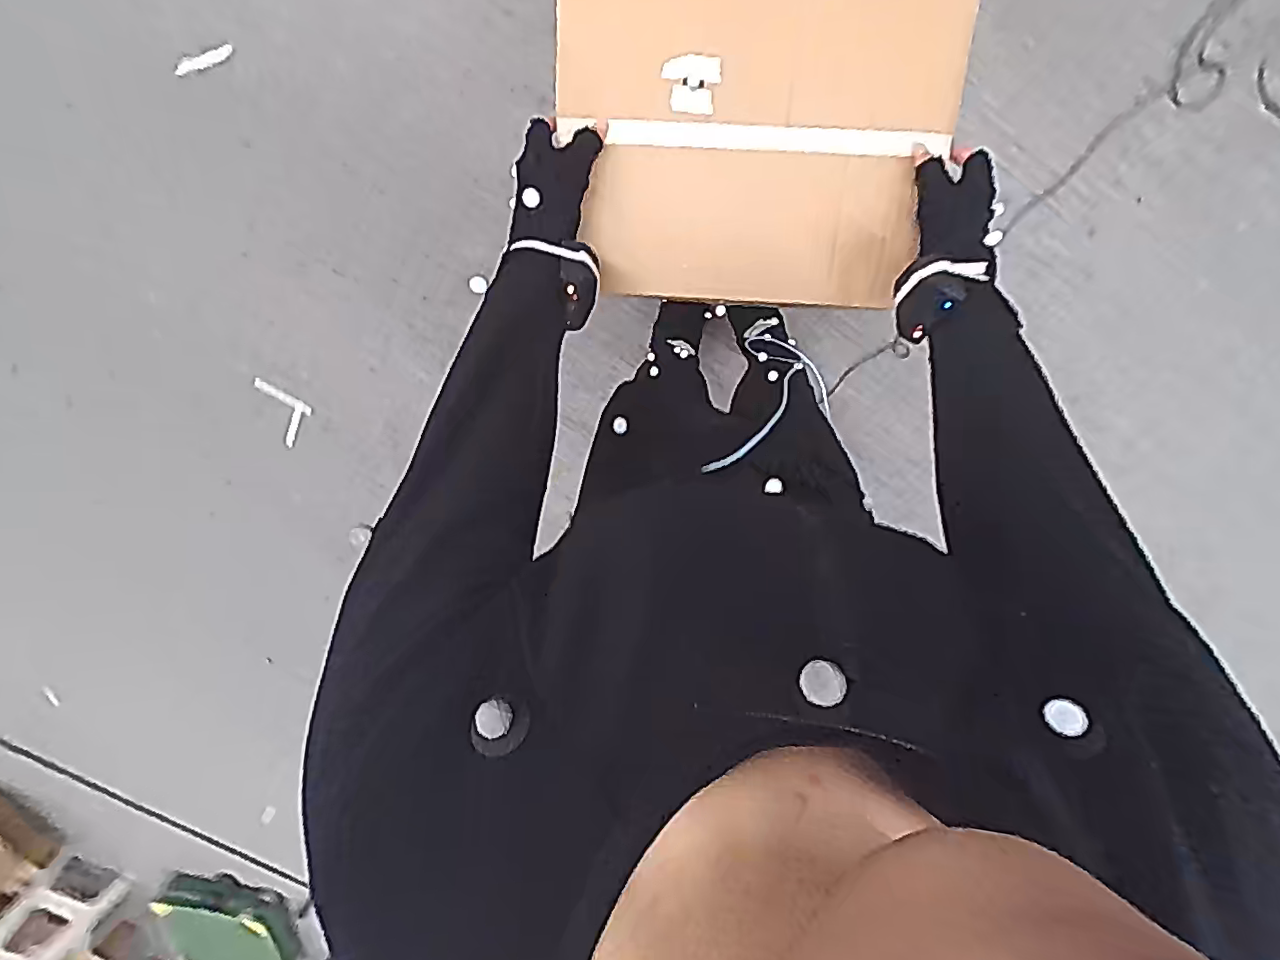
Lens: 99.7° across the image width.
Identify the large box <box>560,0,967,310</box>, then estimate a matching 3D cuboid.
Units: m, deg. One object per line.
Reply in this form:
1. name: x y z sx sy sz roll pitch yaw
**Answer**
1. large box: 0.123 -0.401 0.715 0.408 0.320 0.320 5 107 1
